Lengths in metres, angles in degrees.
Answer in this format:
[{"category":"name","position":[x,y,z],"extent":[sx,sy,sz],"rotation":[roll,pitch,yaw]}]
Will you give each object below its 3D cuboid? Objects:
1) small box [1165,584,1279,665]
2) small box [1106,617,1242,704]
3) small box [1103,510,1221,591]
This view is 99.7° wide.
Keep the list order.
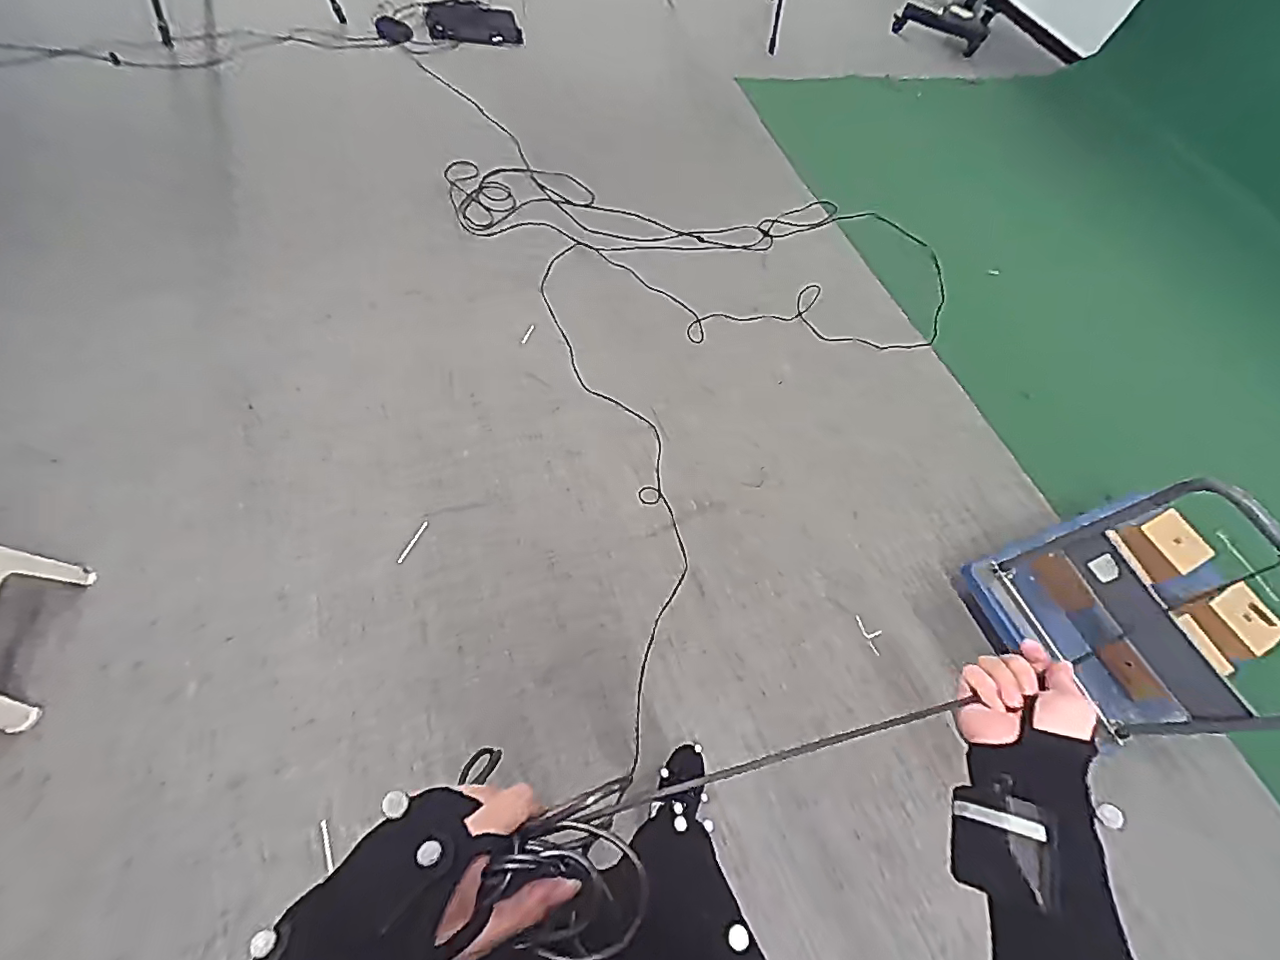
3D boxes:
[{"category":"small box","position":[1.703,0.427,1.569],"extent":[0.179,0.176,0.168],"rotation":[-20,66,-18]},{"category":"small box","position":[1.456,0.500,1.488],"extent":[0.179,0.176,0.168],"rotation":[-16,65,-17]},{"category":"small box","position":[1.592,0.223,1.665],"extent":[0.179,0.176,0.168],"rotation":[-20,67,-19]}]
